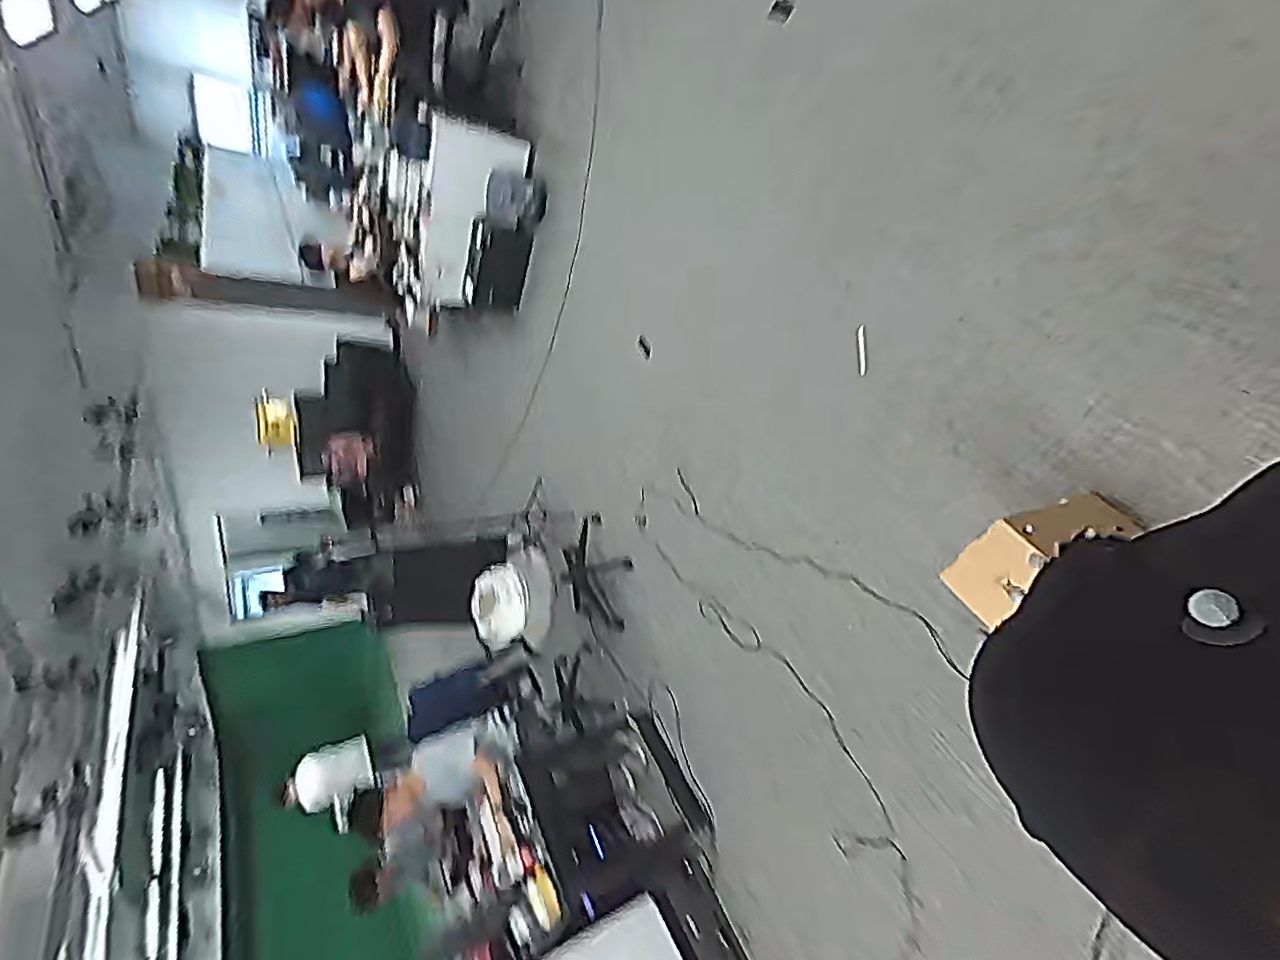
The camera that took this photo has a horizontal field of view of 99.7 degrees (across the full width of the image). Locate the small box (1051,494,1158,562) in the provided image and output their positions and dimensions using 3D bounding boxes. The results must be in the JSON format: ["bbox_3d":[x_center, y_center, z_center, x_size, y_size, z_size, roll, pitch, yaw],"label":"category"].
[{"bbox_3d":[0.972,0.147,1.190,0.179,0.176,0.168,55,135,35],"label":"small box"}]

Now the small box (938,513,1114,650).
[{"bbox_3d":[0.709,0.178,0.996,0.179,0.176,0.168,56,137,36],"label":"small box"}]

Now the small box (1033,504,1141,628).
[{"bbox_3d":[0.843,0.165,1.088,0.179,0.176,0.168,57,137,34],"label":"small box"}]
